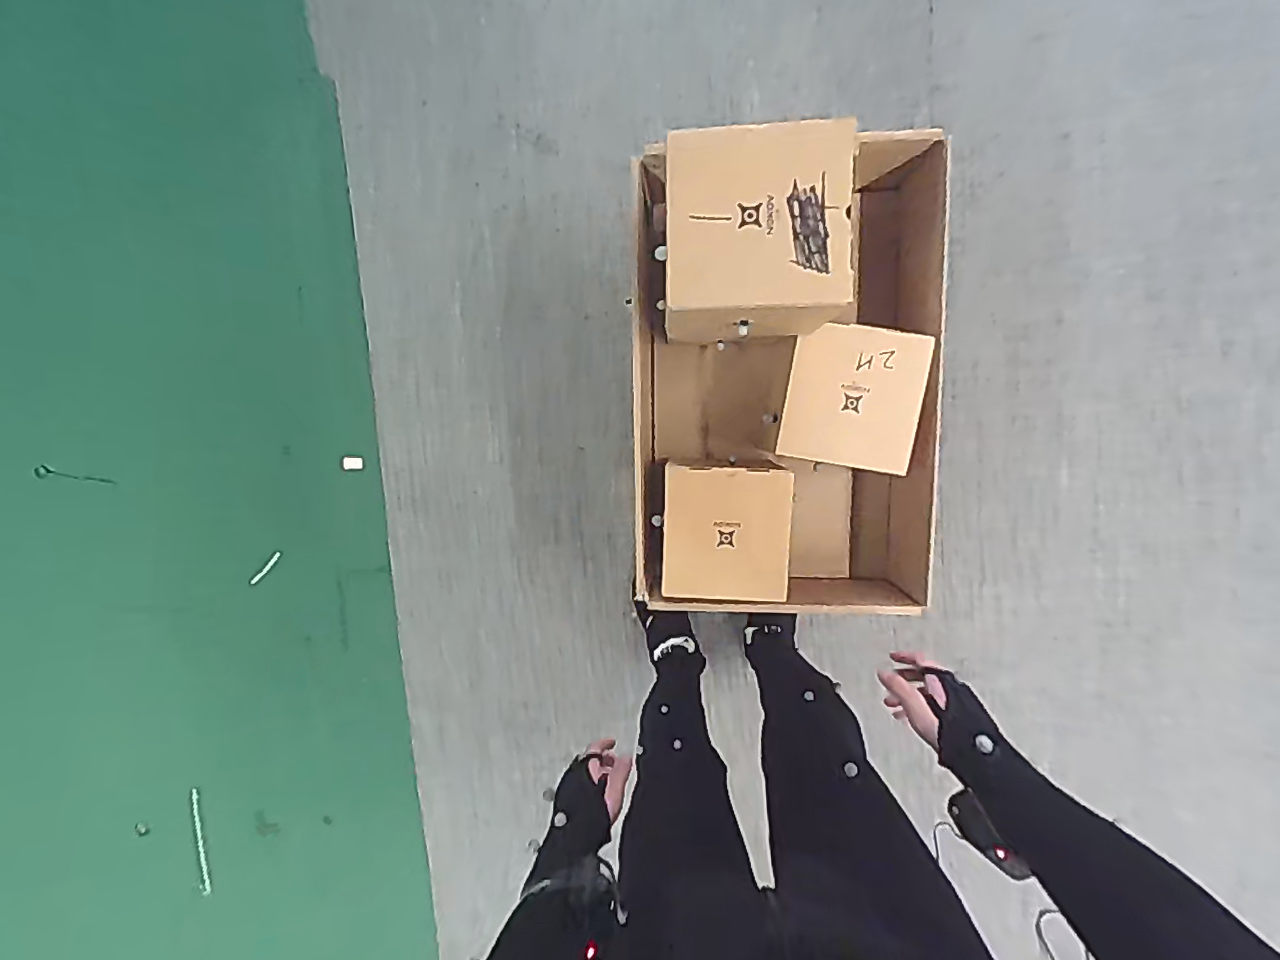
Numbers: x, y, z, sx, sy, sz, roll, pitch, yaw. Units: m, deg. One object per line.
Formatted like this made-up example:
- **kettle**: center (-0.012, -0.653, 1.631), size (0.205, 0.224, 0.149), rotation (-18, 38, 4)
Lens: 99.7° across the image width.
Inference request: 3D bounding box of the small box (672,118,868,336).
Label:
- **small box**: center (0.124, -0.251, 0.576), size (0.179, 0.176, 0.168), rotation (1, 95, 5)
